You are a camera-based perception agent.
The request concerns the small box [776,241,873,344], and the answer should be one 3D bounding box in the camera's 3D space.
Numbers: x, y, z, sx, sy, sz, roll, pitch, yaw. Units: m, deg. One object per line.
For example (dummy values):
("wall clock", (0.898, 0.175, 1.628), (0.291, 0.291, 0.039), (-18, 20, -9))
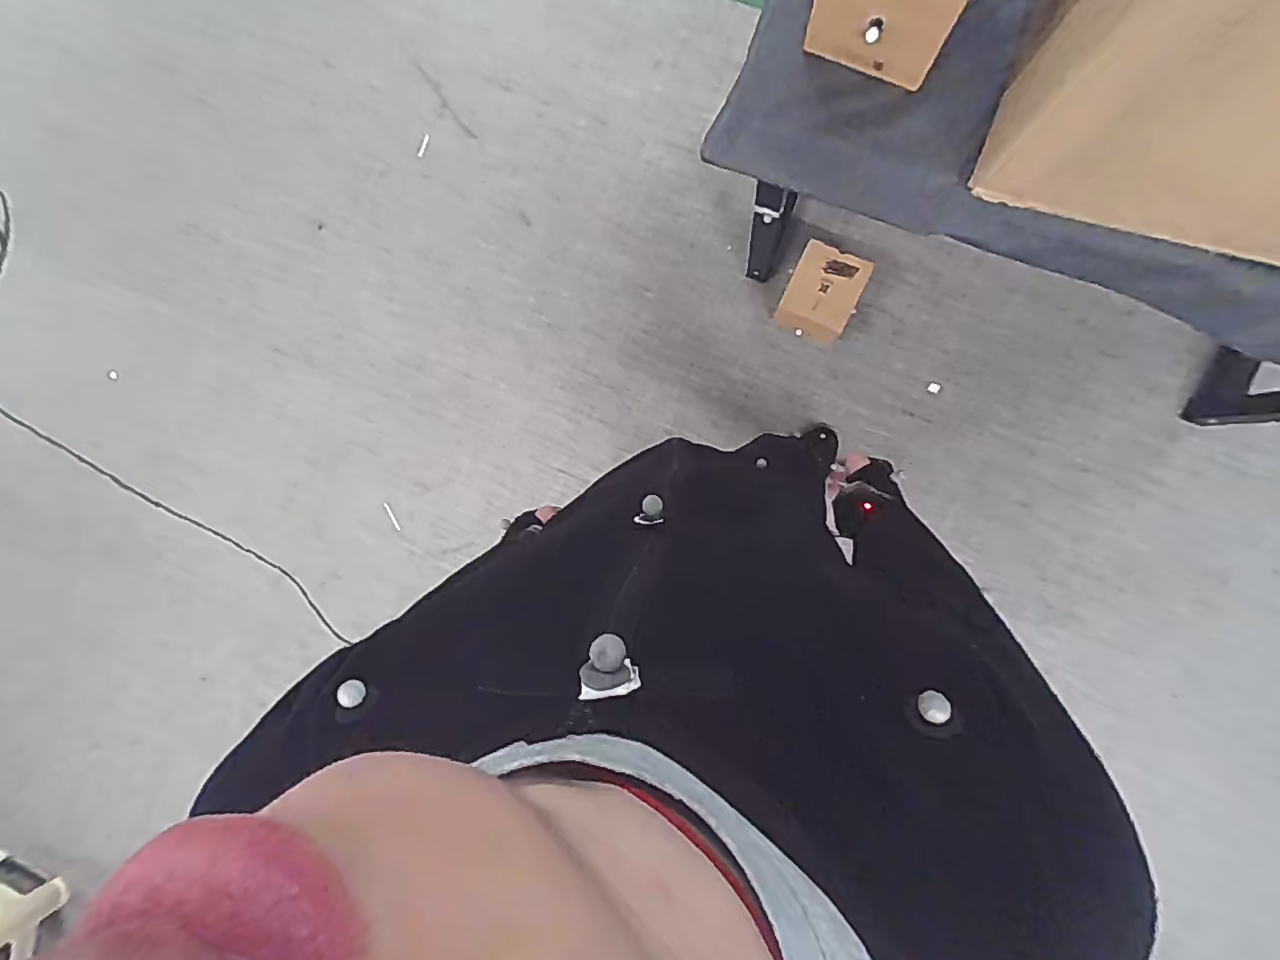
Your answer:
("small box", (0.457, -0.468, 1.375), (0.168, 0.176, 0.179), (26, 98, 7))
